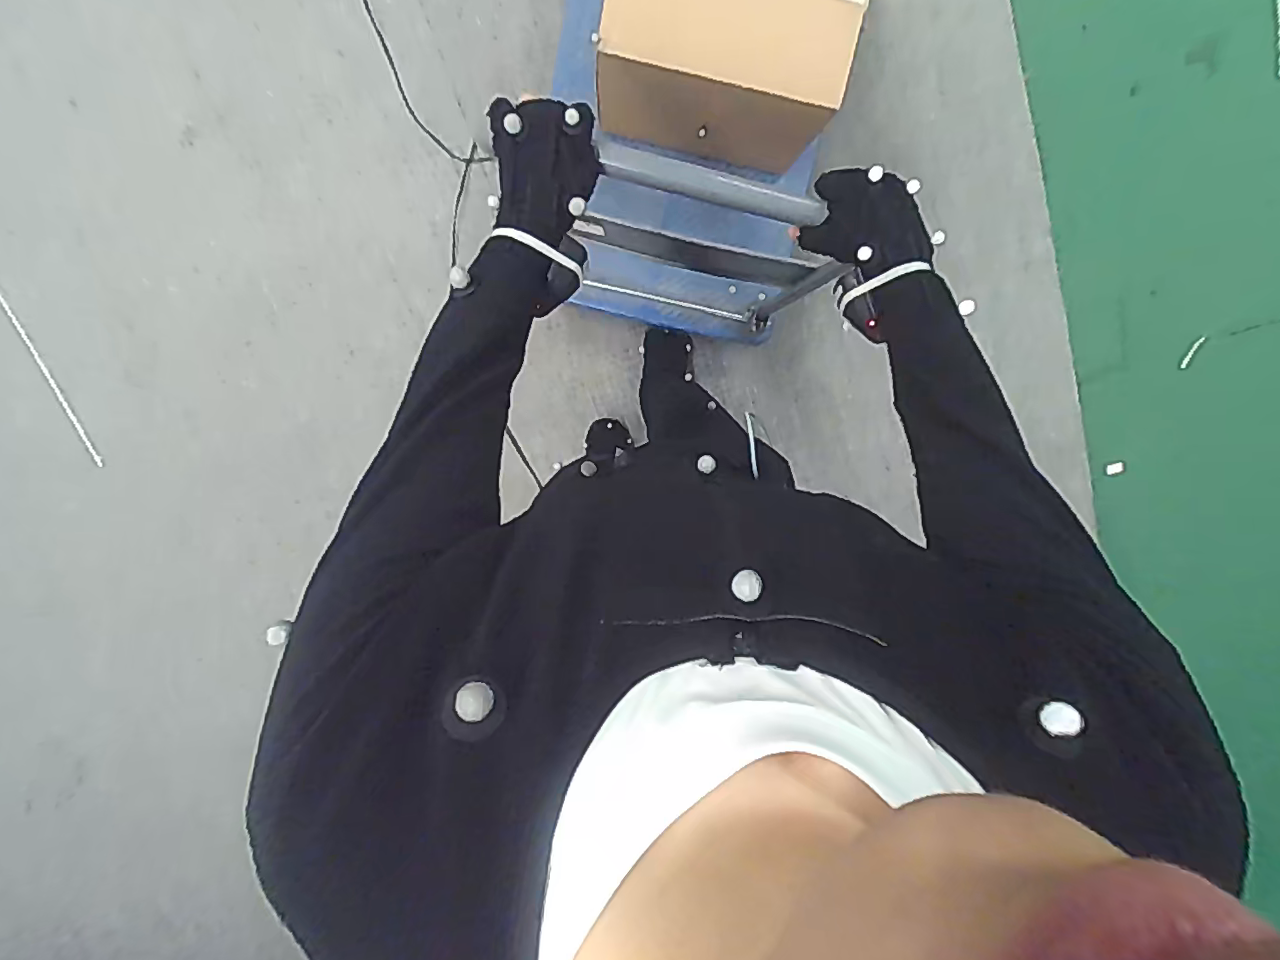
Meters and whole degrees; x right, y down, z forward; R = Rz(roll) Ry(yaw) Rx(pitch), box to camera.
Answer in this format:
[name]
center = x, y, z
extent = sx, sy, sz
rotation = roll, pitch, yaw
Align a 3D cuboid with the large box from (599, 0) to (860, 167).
[large box]
center = 0.150, -0.822, 0.988
extent = 0.408, 0.320, 0.320
rotation = 10, 101, -5
